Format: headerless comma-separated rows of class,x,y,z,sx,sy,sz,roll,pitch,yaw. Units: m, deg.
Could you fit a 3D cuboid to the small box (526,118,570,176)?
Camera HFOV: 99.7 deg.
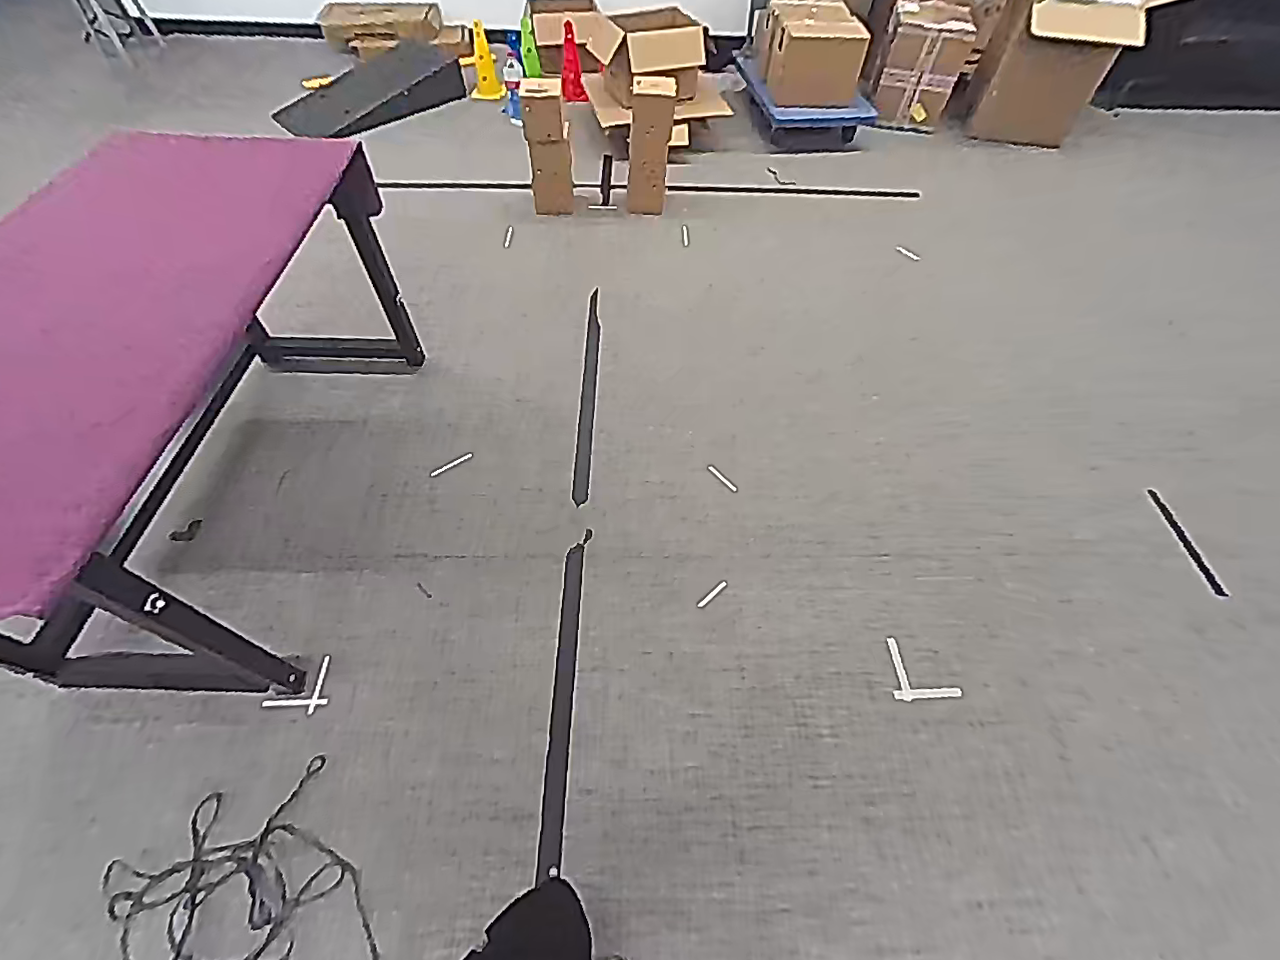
small box,-0.399,-1.463,2.381,0.168,0.176,0.179,1,54,-2

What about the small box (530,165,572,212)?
small box,-0.410,-1.371,2.516,0.179,0.176,0.168,-2,55,-2

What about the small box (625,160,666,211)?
small box,0.026,-1.391,2.546,0.179,0.176,0.168,5,55,0

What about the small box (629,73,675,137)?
small box,0.050,-1.577,2.279,0.179,0.176,0.168,3,57,-2

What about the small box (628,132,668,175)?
small box,0.032,-1.493,2.419,0.168,0.176,0.179,1,56,-3
